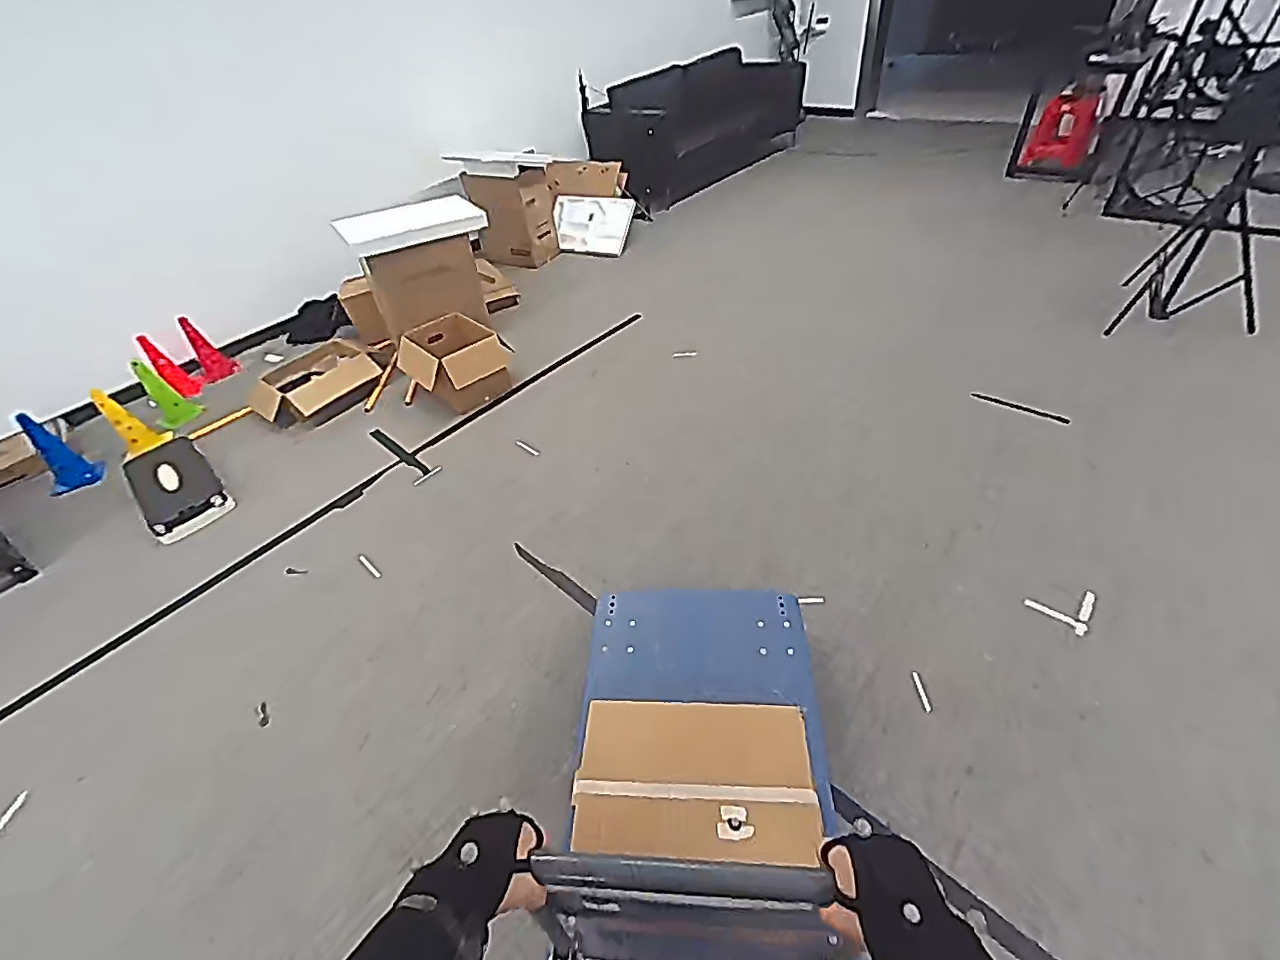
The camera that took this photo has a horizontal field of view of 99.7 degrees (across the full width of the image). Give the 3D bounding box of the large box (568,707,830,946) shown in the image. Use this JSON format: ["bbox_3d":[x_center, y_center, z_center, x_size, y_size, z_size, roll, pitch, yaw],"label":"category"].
[{"bbox_3d":[0.102,0.650,1.020,0.408,0.320,0.320,-1,44,6],"label":"large box"}]
